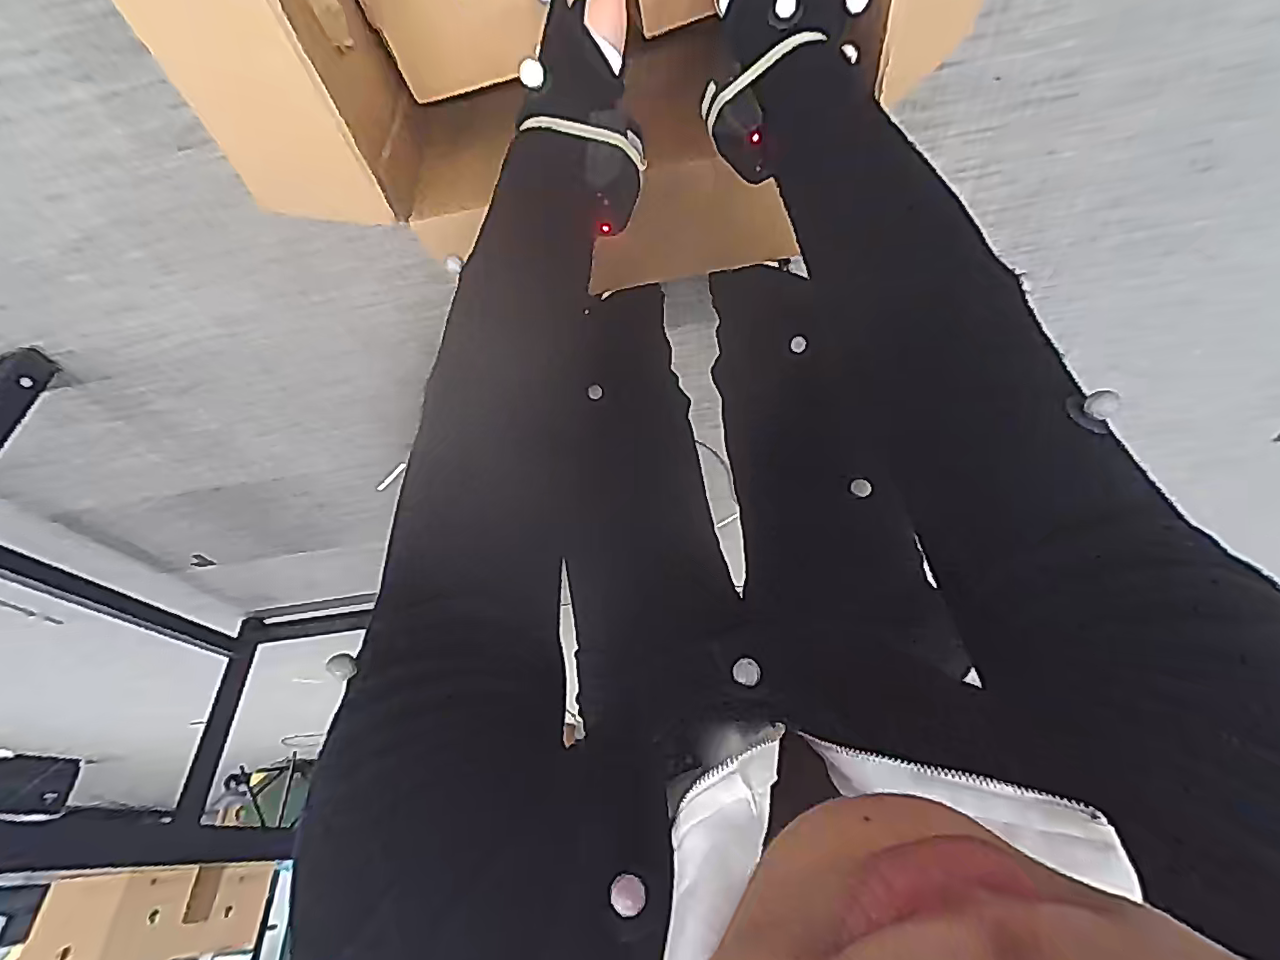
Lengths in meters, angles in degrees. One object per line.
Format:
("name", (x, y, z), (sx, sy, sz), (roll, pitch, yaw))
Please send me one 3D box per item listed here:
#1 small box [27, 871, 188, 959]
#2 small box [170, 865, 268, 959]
("small box", (-1.072, 0.901, 1.097), (0.179, 0.176, 0.168), (-8, 145, 5))
("small box", (-1.035, 1.030, 1.295), (0.179, 0.176, 0.168), (-8, 145, 6))
